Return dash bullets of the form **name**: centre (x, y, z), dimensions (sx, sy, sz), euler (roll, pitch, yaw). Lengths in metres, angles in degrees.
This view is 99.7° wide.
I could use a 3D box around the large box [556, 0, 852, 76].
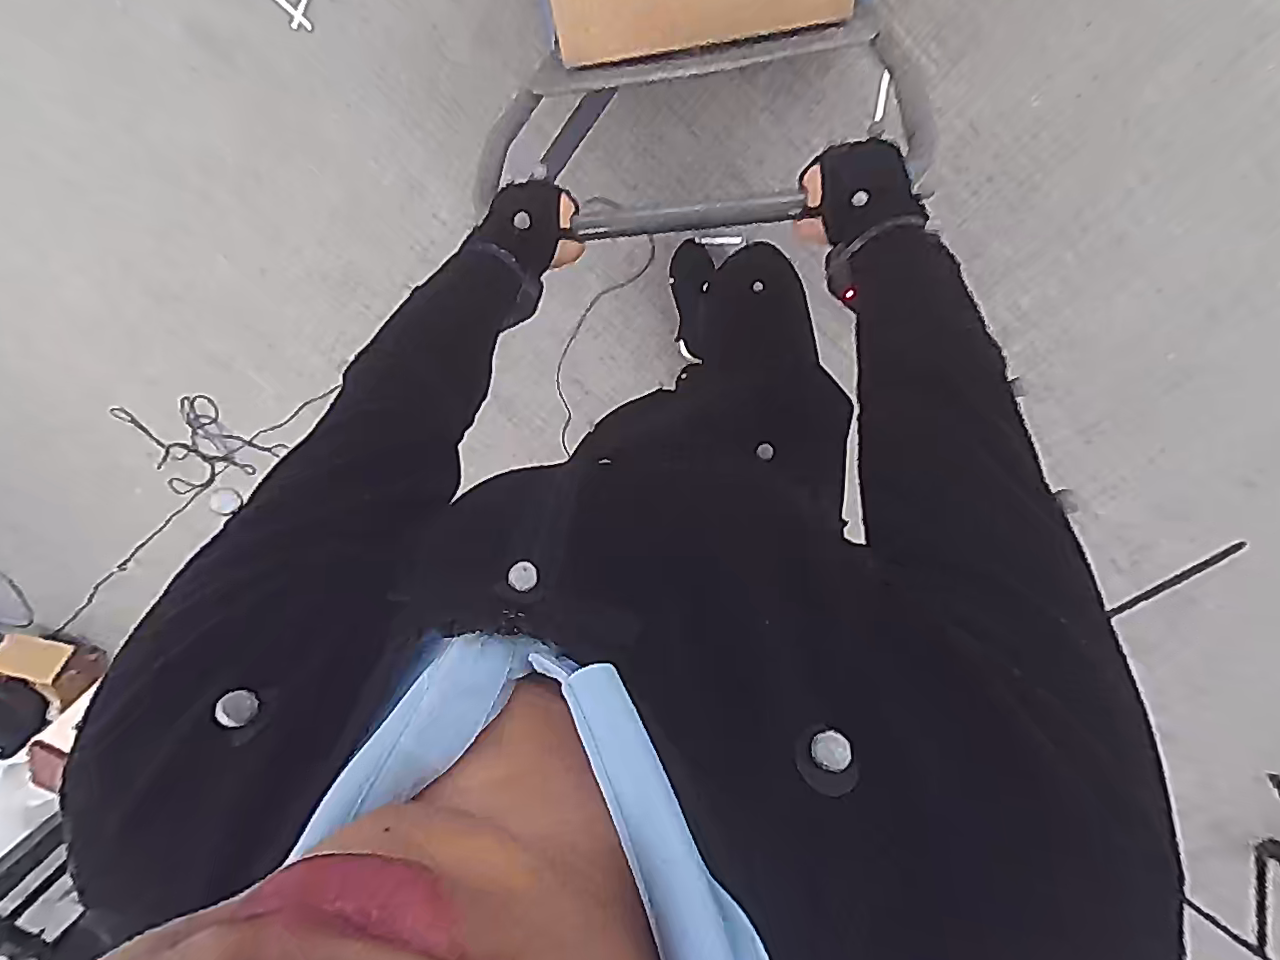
- **large box**: centre (0.079, -0.829, 0.769), dimensions (0.408, 0.320, 0.320), euler (-2, 137, 11)
